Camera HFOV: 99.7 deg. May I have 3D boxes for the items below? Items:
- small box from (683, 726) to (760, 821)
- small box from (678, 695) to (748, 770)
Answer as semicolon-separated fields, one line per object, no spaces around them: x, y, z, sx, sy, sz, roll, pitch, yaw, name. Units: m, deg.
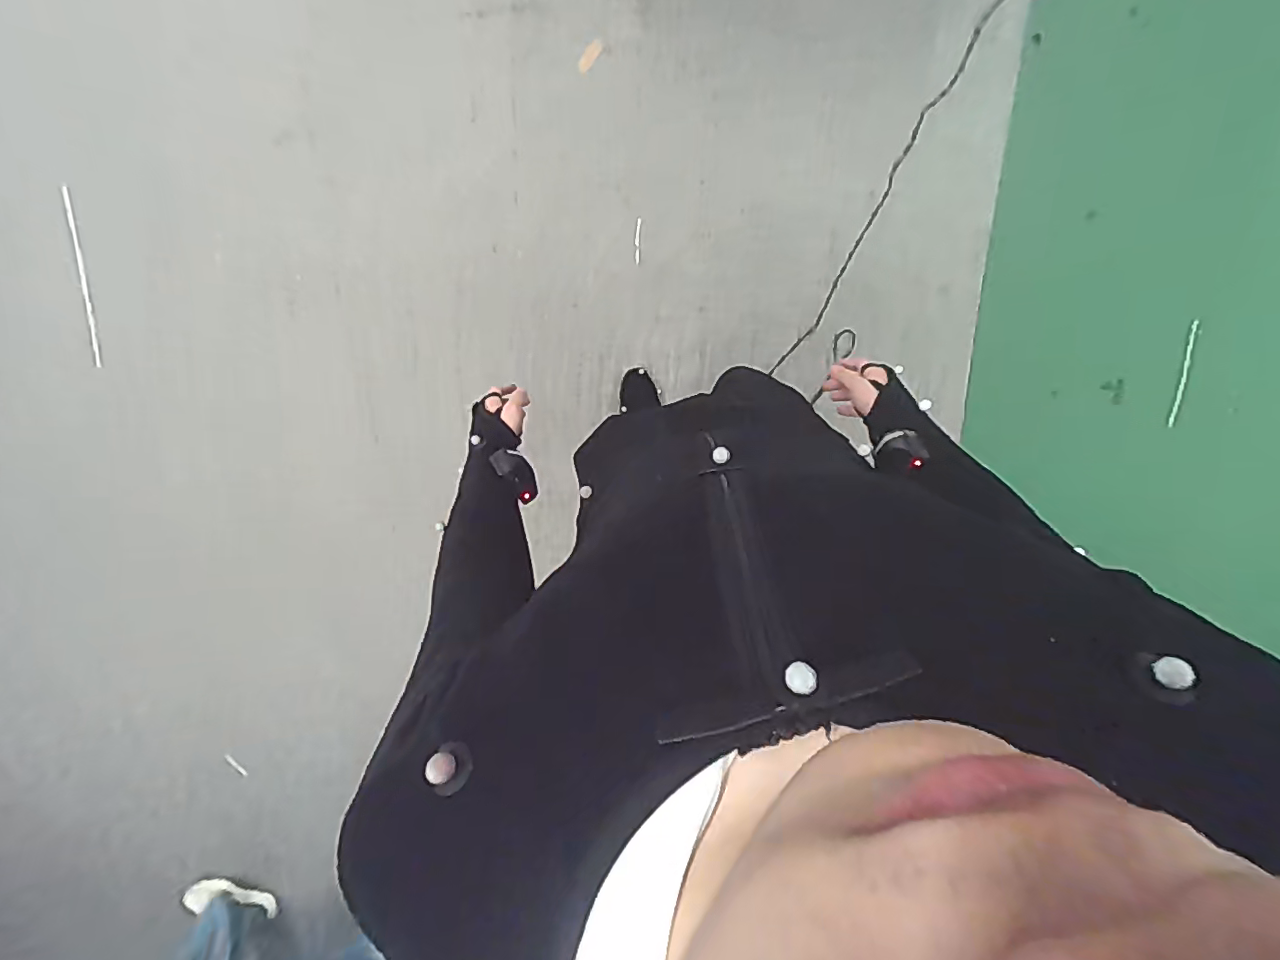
0.227;0.836;1.555;0.179;0.176;0.168;9;102;-4;small box
0.224;0.809;1.718;0.179;0.176;0.168;10;102;-4;small box
